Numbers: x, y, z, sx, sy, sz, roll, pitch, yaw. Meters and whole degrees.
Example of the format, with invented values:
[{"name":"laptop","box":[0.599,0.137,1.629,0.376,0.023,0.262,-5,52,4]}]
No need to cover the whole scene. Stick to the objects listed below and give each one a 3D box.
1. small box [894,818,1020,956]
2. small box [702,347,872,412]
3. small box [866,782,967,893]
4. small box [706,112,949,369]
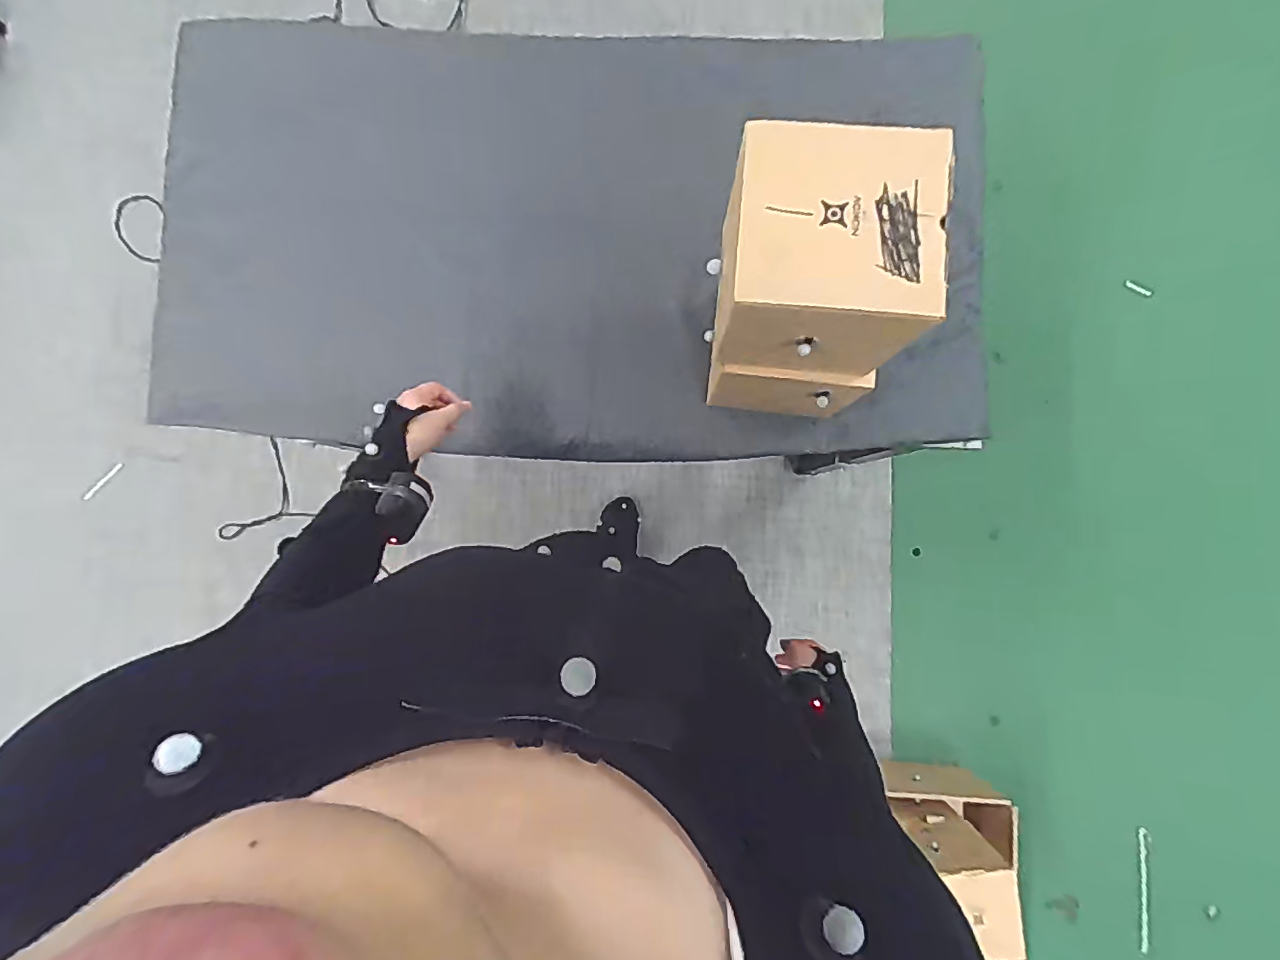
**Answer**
[{"name":"small box","box":[0.659,0.848,1.146,0.168,0.176,0.179,-6,89,2]},{"name":"small box","box":[0.180,-0.187,0.687,0.179,0.176,0.168,6,85,2]},{"name":"small box","box":[0.662,0.861,1.309,0.168,0.176,0.179,4,87,2]},{"name":"small box","box":[0.165,-0.213,0.525,0.179,0.176,0.168,5,85,2]}]
